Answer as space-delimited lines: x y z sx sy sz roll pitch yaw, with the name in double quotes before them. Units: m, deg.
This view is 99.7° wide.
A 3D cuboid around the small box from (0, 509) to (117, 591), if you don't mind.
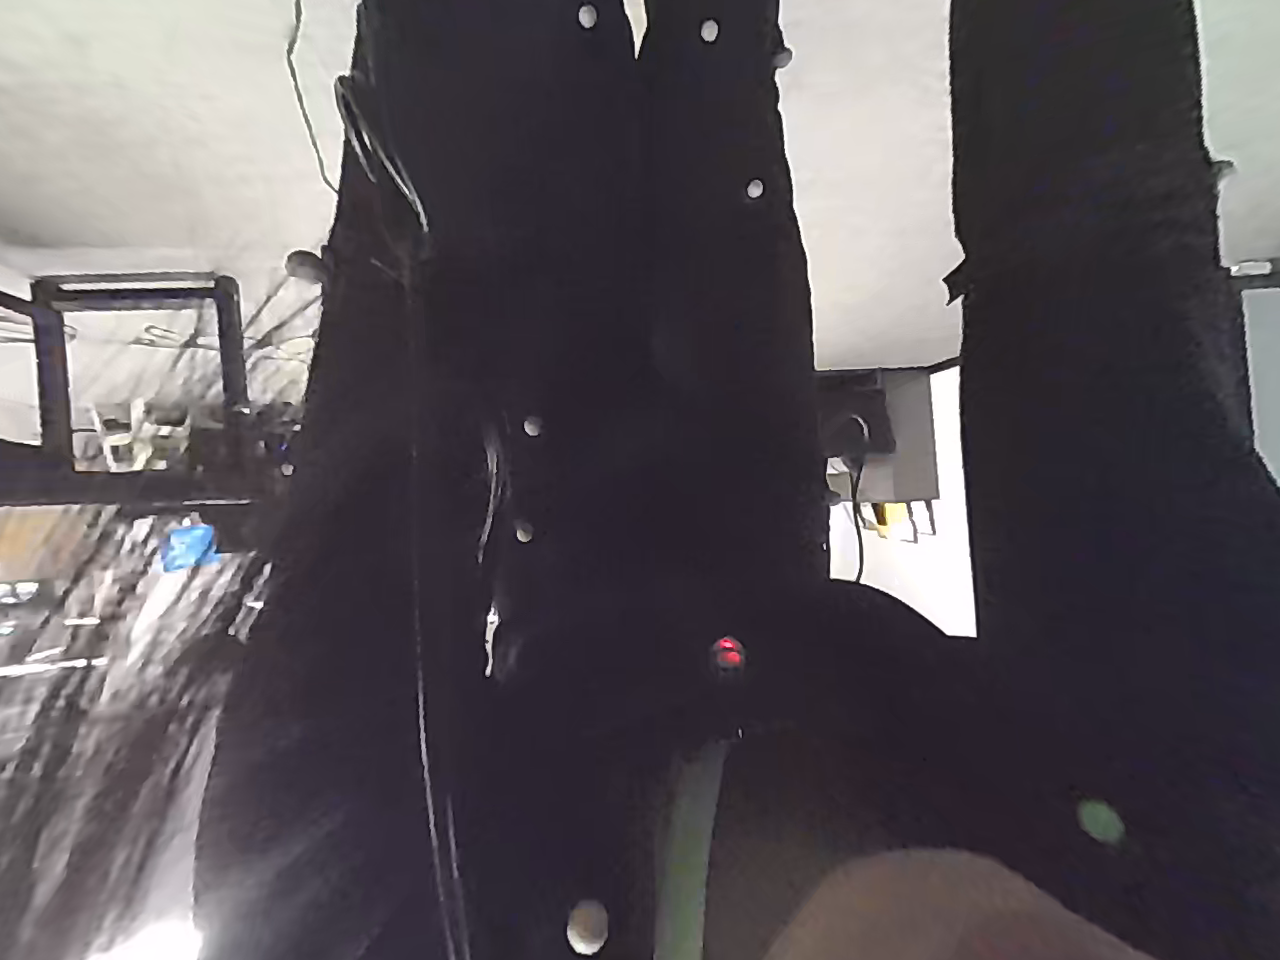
"small box" -1.376 0.158 1.256 0.179 0.176 0.168 -3 179 -8
